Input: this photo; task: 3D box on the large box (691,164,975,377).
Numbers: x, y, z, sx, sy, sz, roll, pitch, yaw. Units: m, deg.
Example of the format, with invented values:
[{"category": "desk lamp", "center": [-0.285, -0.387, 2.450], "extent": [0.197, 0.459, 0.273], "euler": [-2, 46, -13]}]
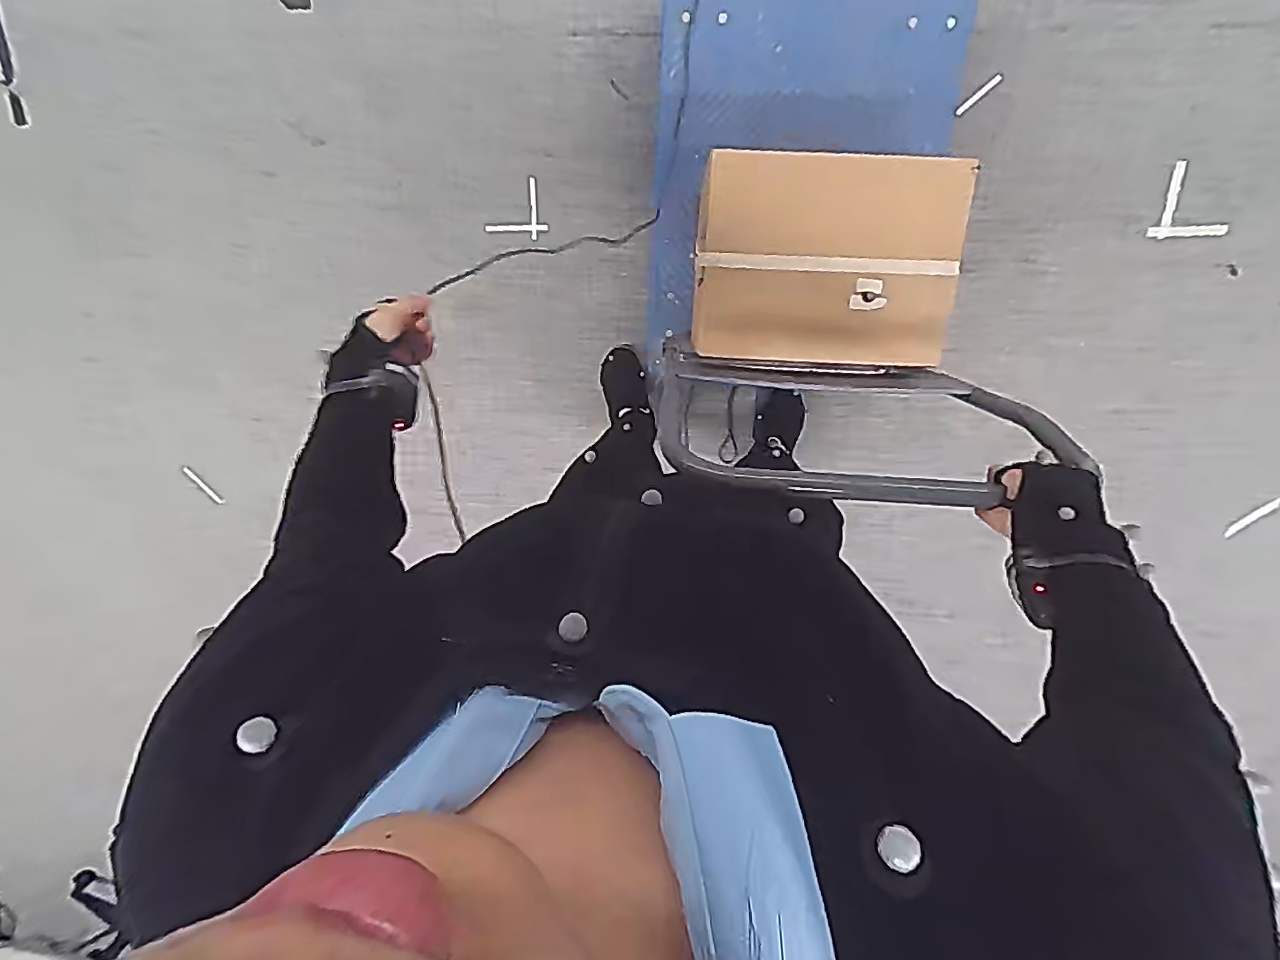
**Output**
[{"category": "large box", "center": [0.306, -0.367, 1.001], "extent": [0.408, 0.320, 0.320], "euler": [3, 108, 1]}]
